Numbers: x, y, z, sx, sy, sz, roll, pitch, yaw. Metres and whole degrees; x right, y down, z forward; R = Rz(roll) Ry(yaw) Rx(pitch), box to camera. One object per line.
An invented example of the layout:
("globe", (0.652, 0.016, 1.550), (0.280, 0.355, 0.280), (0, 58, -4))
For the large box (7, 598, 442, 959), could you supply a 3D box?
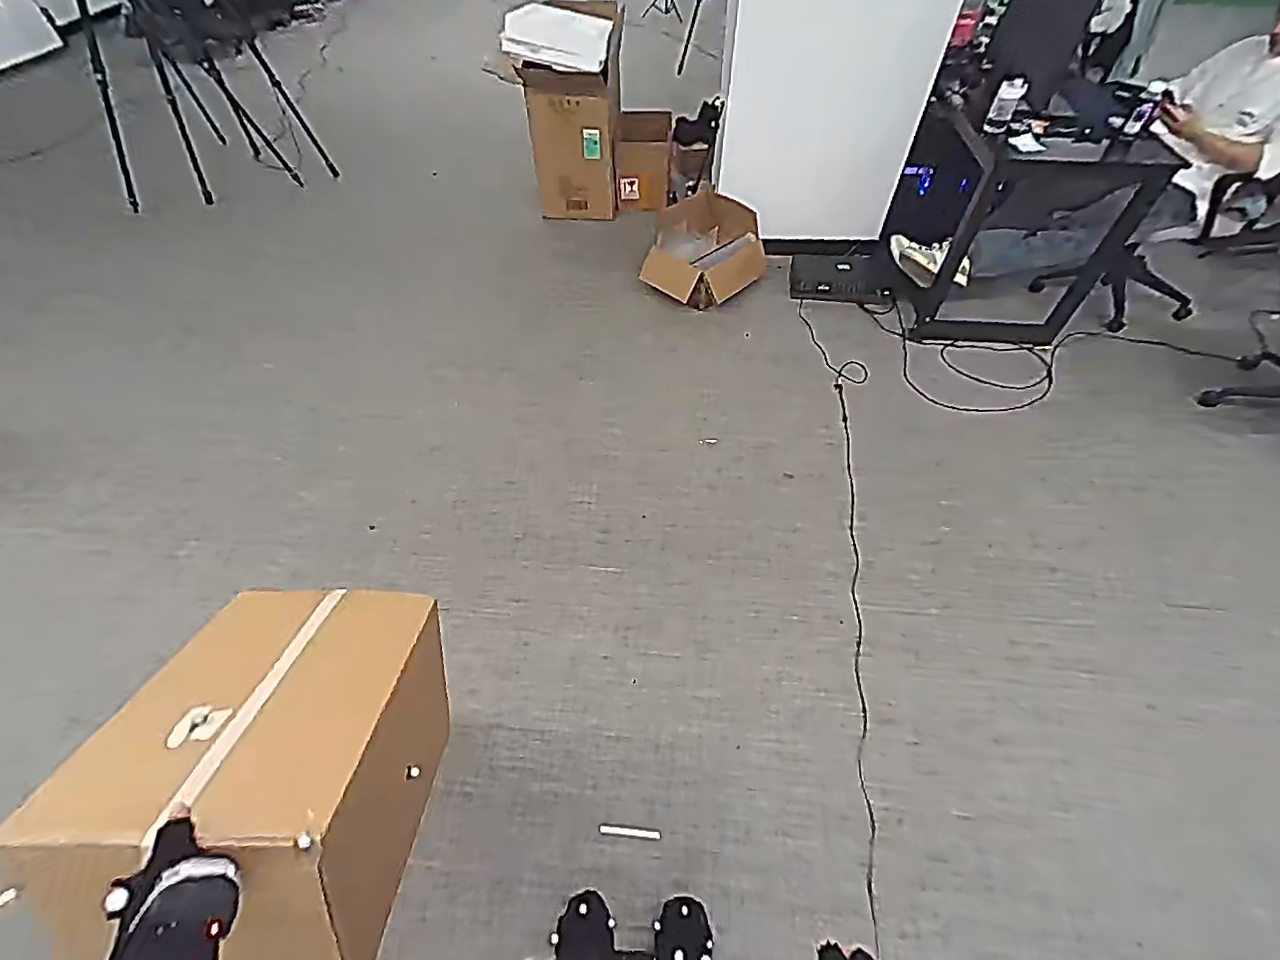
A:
("large box", (-0.500, 0.420, 0.783), (0.320, 0.320, 0.408), (2, 25, -4))
